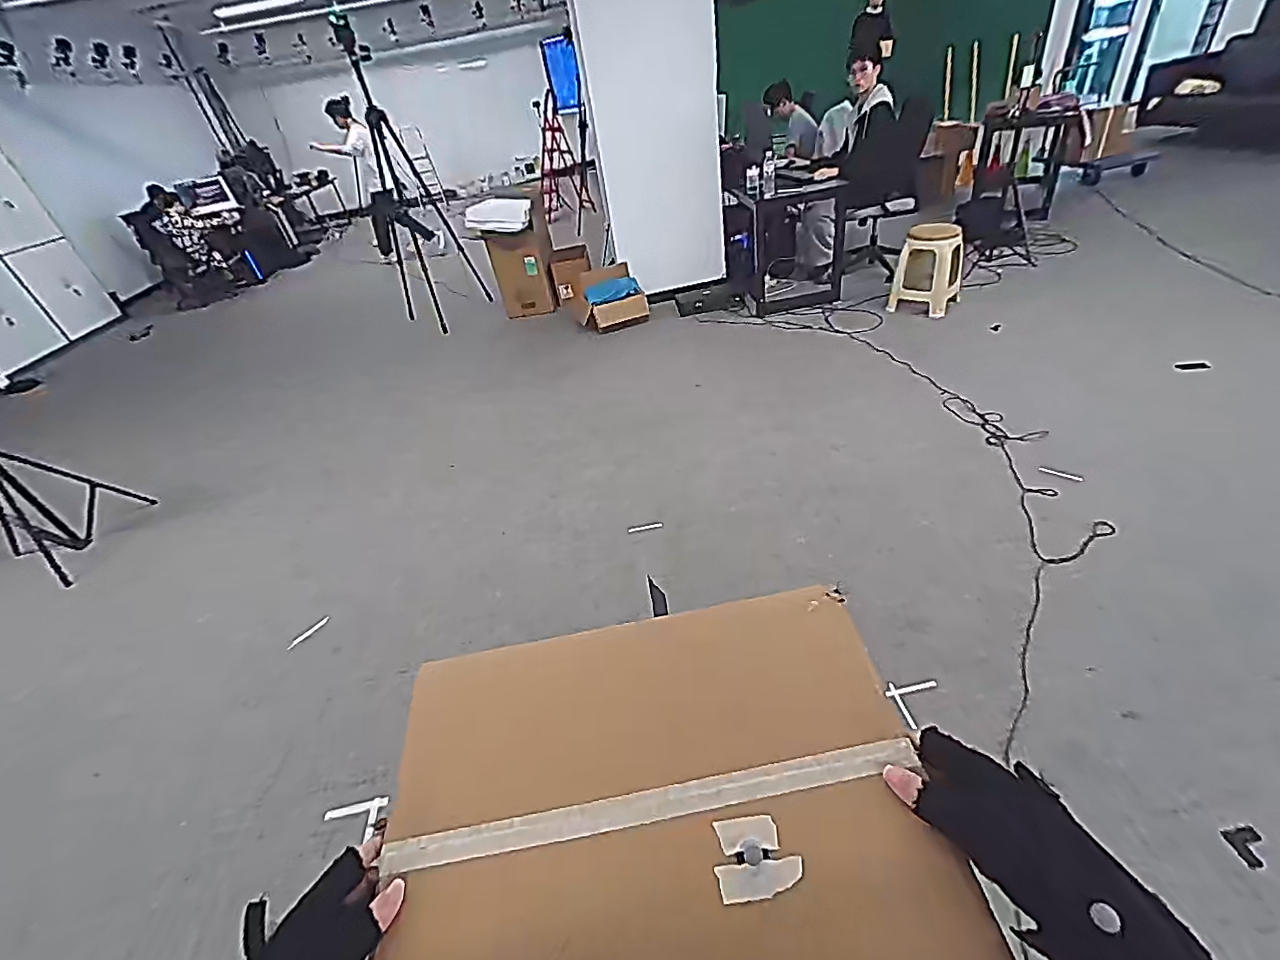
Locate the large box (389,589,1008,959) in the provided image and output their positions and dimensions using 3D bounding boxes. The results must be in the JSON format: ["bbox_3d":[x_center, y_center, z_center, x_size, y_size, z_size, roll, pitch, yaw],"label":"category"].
[{"bbox_3d":[0.030,0.355,0.522,0.408,0.320,0.320,-11,45,-1],"label":"large box"}]
